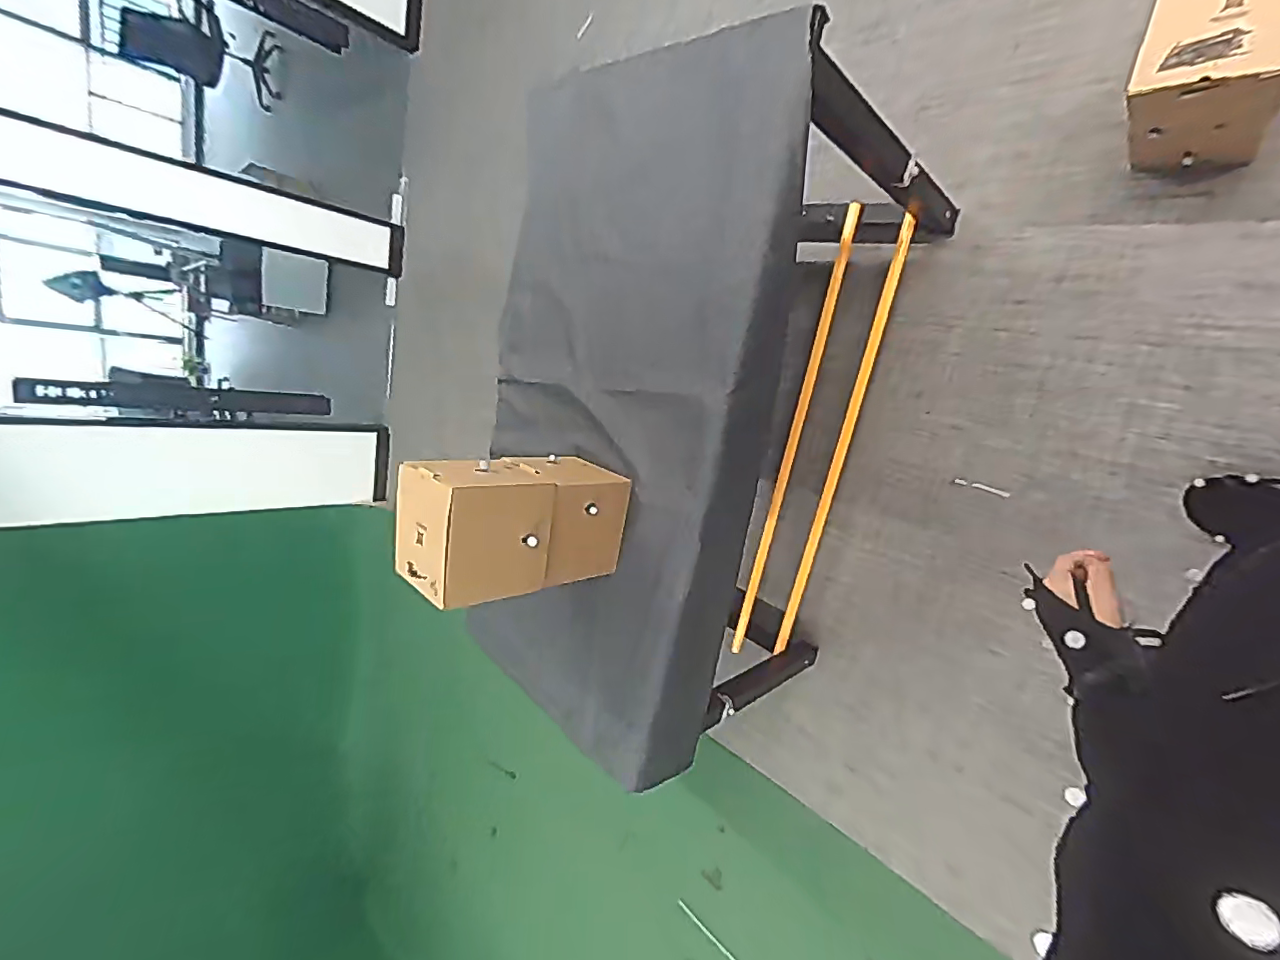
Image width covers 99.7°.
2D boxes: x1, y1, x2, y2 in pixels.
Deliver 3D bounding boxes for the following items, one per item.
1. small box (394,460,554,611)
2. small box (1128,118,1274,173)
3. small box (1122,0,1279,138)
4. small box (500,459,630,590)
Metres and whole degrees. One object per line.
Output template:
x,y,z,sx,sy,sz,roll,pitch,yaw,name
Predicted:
-0.248,0.072,0.815,0.168,0.176,0.179,18,103,43,small box
0.939,-0.632,0.887,0.168,0.176,0.179,24,108,41,small box
0.826,-0.614,0.768,0.168,0.176,0.179,21,105,41,small box
-0.137,0.066,0.937,0.168,0.176,0.179,22,107,42,small box
